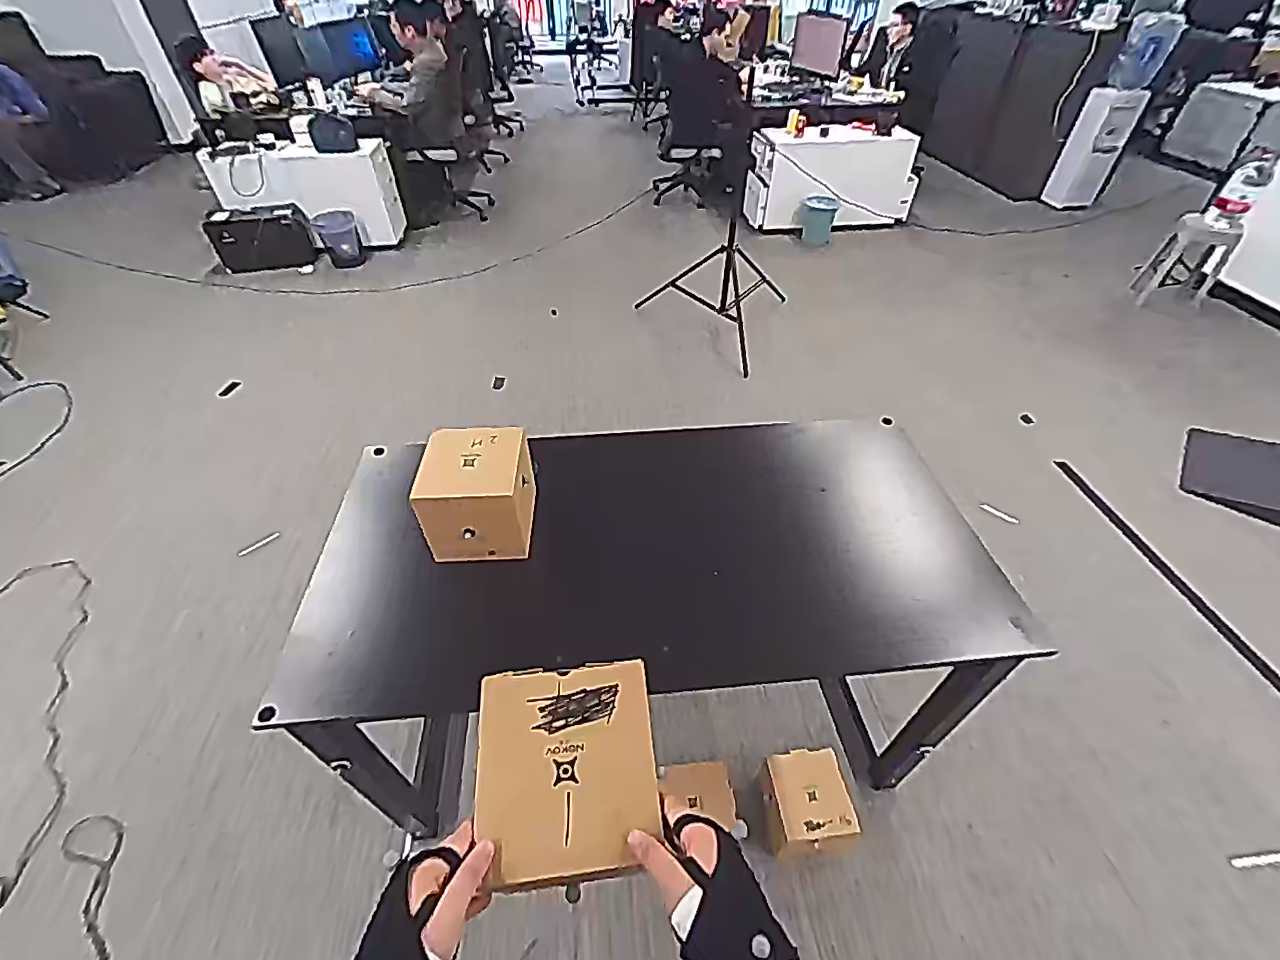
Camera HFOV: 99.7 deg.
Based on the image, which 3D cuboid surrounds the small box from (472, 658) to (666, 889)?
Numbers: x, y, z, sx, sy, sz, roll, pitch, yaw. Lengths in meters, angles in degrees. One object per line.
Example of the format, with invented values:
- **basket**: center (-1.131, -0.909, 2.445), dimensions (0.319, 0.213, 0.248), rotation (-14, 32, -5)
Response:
- **small box**: center (-0.070, 0.308, 0.567), dimensions (0.168, 0.176, 0.179), rotation (-4, 52, -5)

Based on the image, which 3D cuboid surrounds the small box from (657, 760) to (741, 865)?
- **small box**: center (0.123, 0.773, 1.255), dimensions (0.179, 0.176, 0.168), rotation (-5, 44, -4)

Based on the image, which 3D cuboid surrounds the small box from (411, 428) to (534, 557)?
- **small box**: center (-0.288, 0.027, 0.977), dimensions (0.168, 0.176, 0.179), rotation (-2, 44, -2)

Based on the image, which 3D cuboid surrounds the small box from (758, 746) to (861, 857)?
- **small box**: center (0.385, 0.755, 1.268), dimensions (0.168, 0.176, 0.179), rotation (-5, 44, -4)
